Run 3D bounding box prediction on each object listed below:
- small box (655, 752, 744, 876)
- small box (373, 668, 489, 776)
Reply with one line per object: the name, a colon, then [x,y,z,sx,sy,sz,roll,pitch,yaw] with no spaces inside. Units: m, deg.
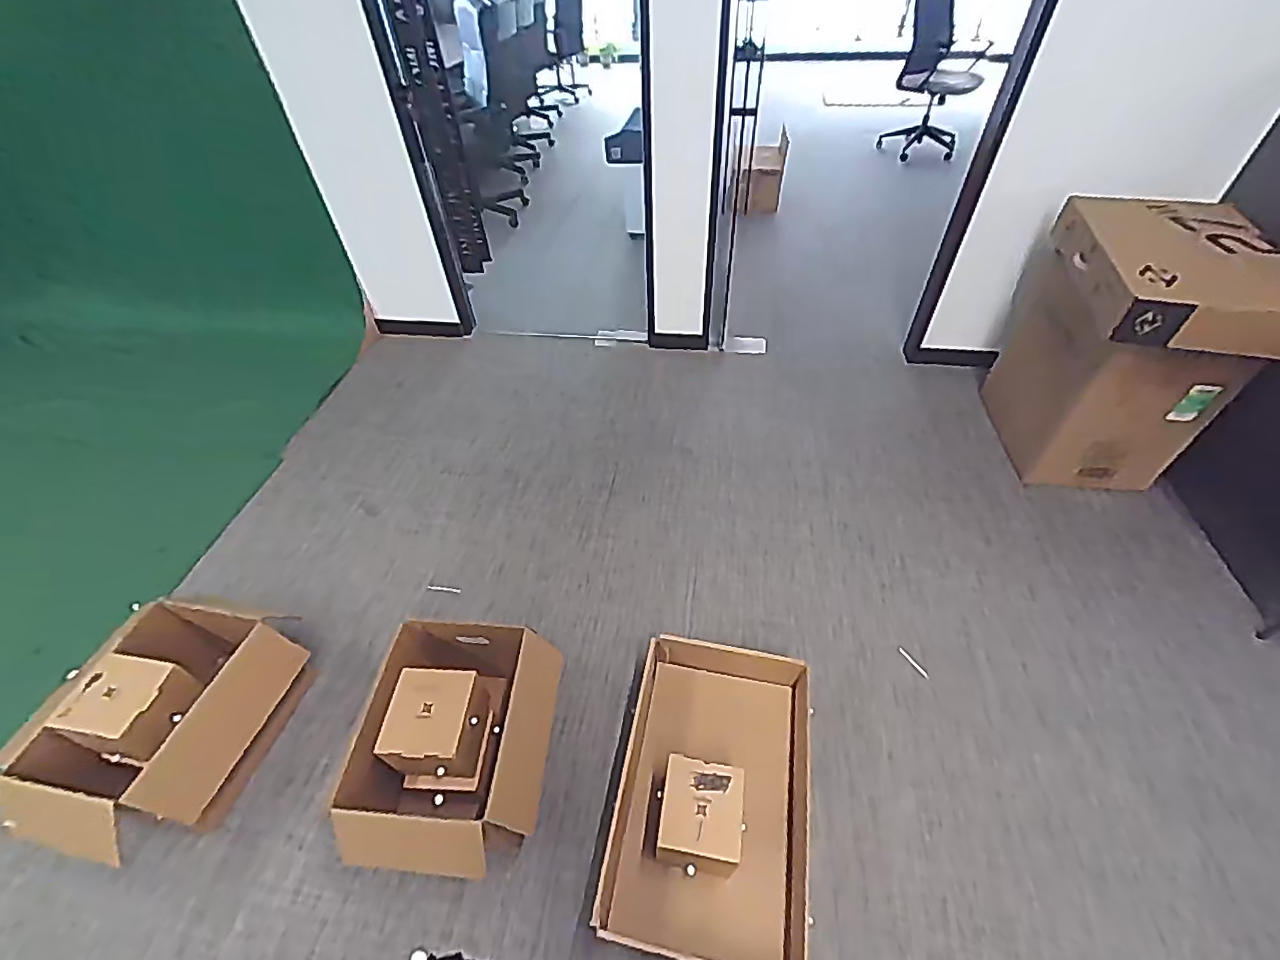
small box: [0.126,0.718,1.161,0.168,0.176,0.179,7,47,8]
small box: [-0.440,0.529,1.175,0.168,0.176,0.179,2,48,3]
